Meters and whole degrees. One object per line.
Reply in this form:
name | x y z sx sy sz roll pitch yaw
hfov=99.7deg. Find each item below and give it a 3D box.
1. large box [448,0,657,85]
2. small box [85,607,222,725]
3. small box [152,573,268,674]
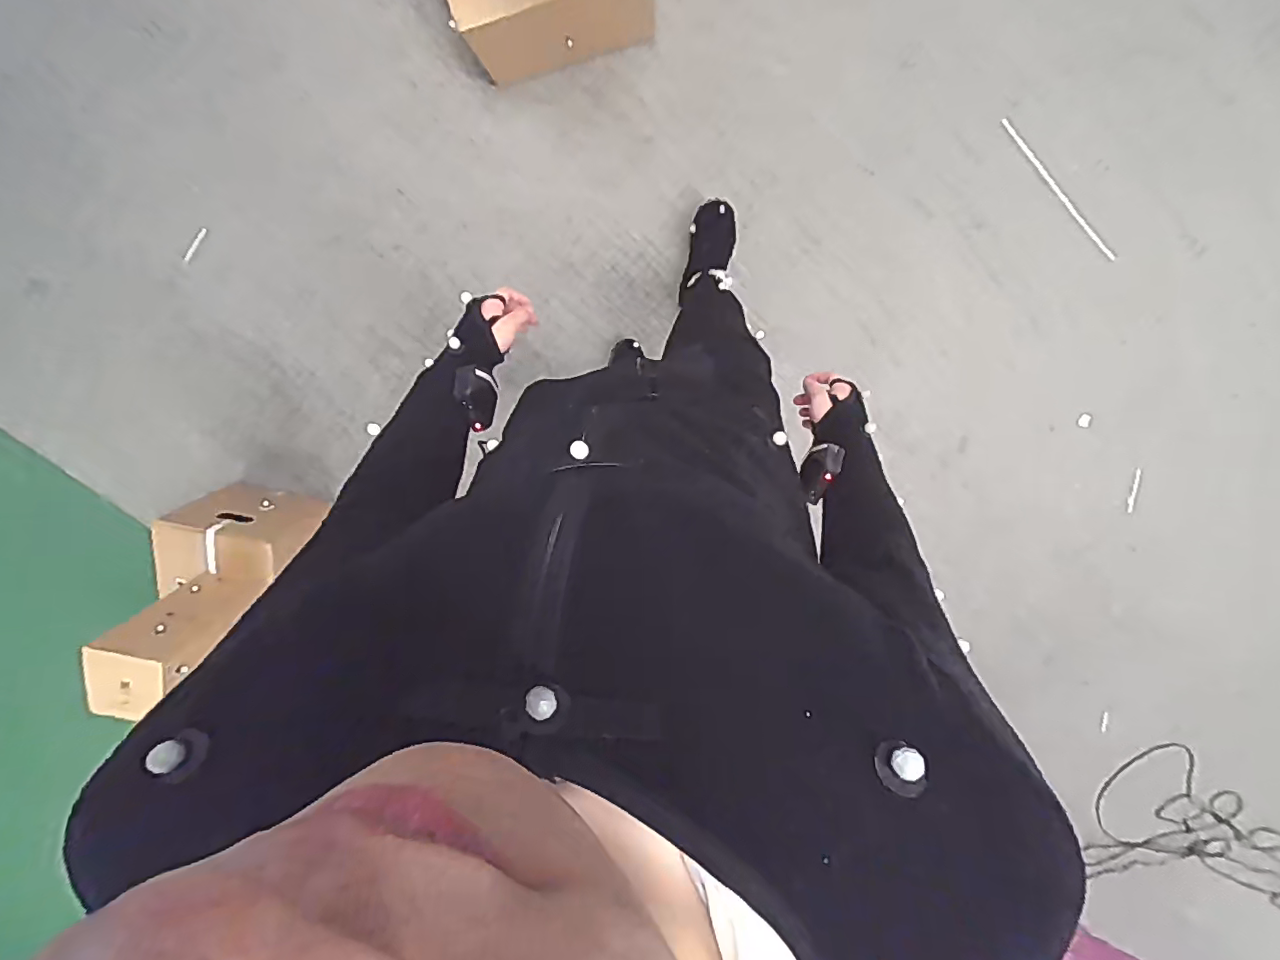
large box | -0.197 -1.101 1.117 0.408 0.320 0.320 -14 107 7
small box | -1.089 0.414 1.225 0.168 0.176 0.179 13 109 -3
small box | -1.087 0.359 1.380 0.168 0.176 0.179 11 110 -3
